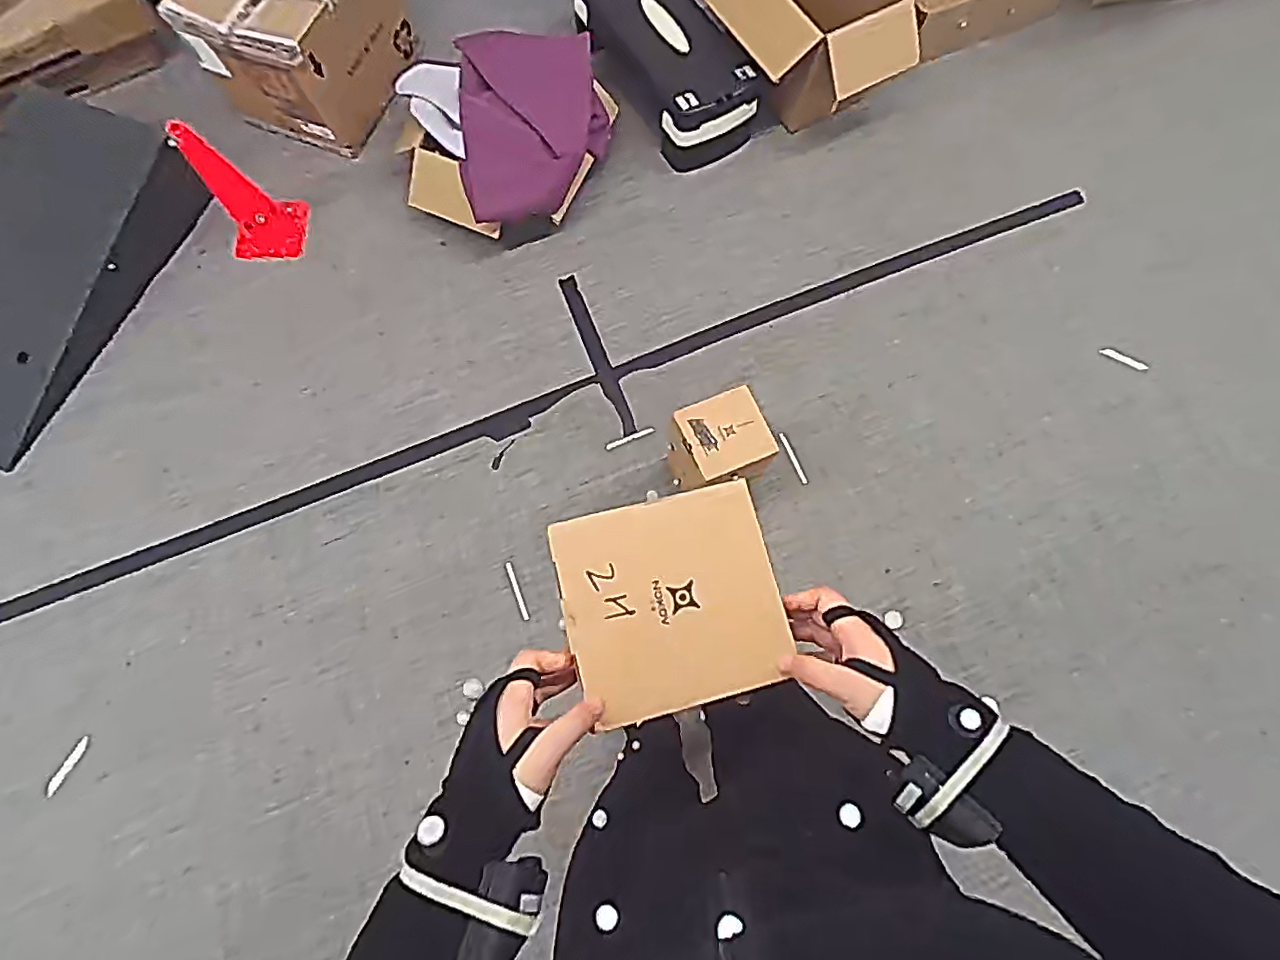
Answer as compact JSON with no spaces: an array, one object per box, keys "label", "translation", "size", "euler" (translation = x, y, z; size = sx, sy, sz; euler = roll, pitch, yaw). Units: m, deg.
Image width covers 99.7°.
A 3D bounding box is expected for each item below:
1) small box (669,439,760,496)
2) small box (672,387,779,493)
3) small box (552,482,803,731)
[{"label":"small box","translation":[0.180,-0.033,1.361],"size":[0.168,0.176,0.179],"euler":[-20,77,-6]},{"label":"small box","translation":[0.178,-0.075,1.200],"size":[0.179,0.176,0.168],"euler":[-22,77,-7]},{"label":"small box","translation":[0.024,0.112,0.511],"size":[0.179,0.176,0.168],"euler":[-13,78,-6]}]
